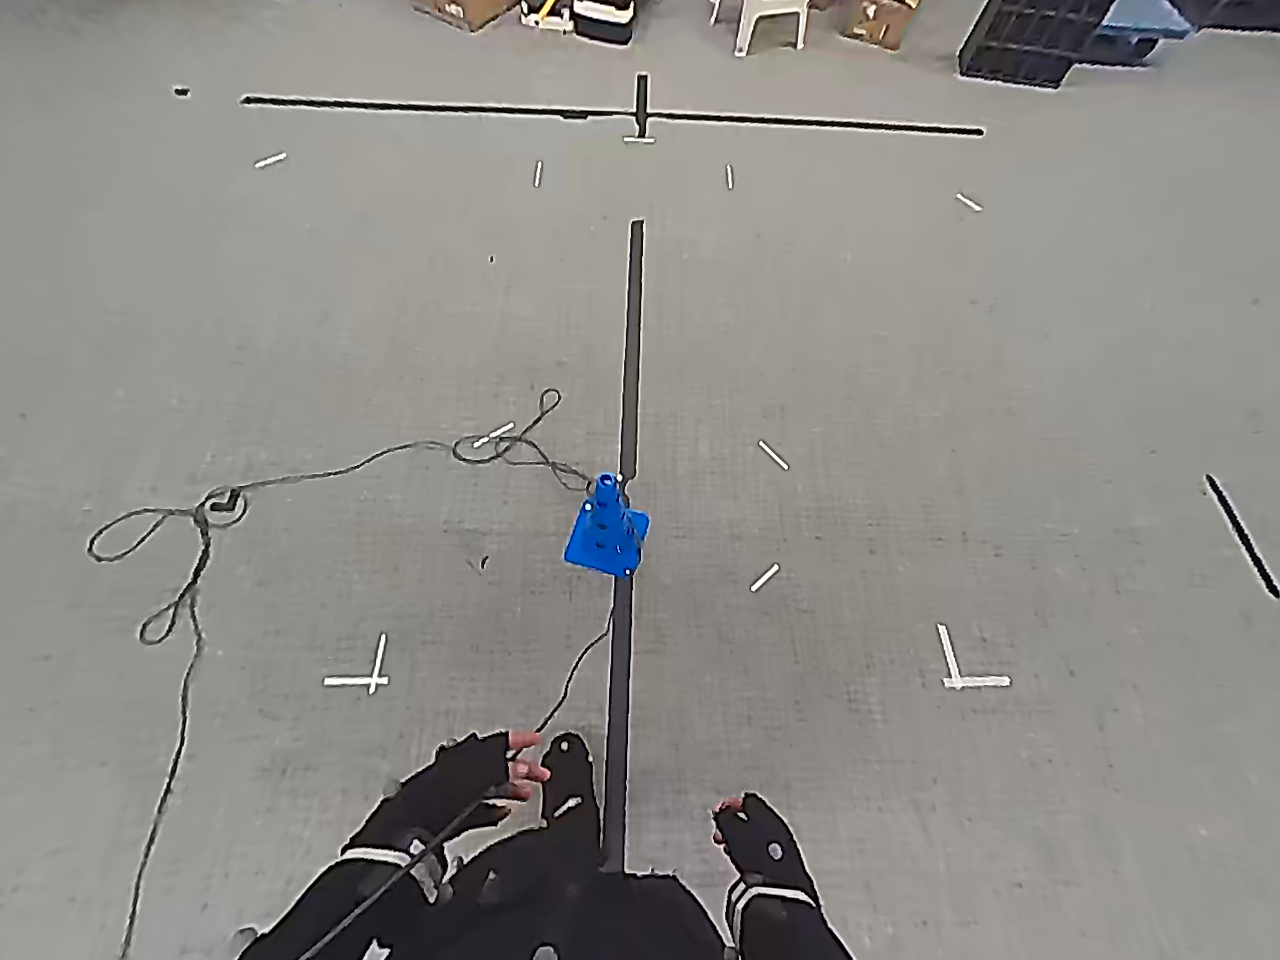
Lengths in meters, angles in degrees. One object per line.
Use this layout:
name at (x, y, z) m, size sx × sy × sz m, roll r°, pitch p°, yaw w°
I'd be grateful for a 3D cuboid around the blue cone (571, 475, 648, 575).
blue cone at (-0.075, 0.086, 1.371) m, size 0.192 × 0.380 × 0.193 m, roll 17°, pitch 63°, yaw 5°
